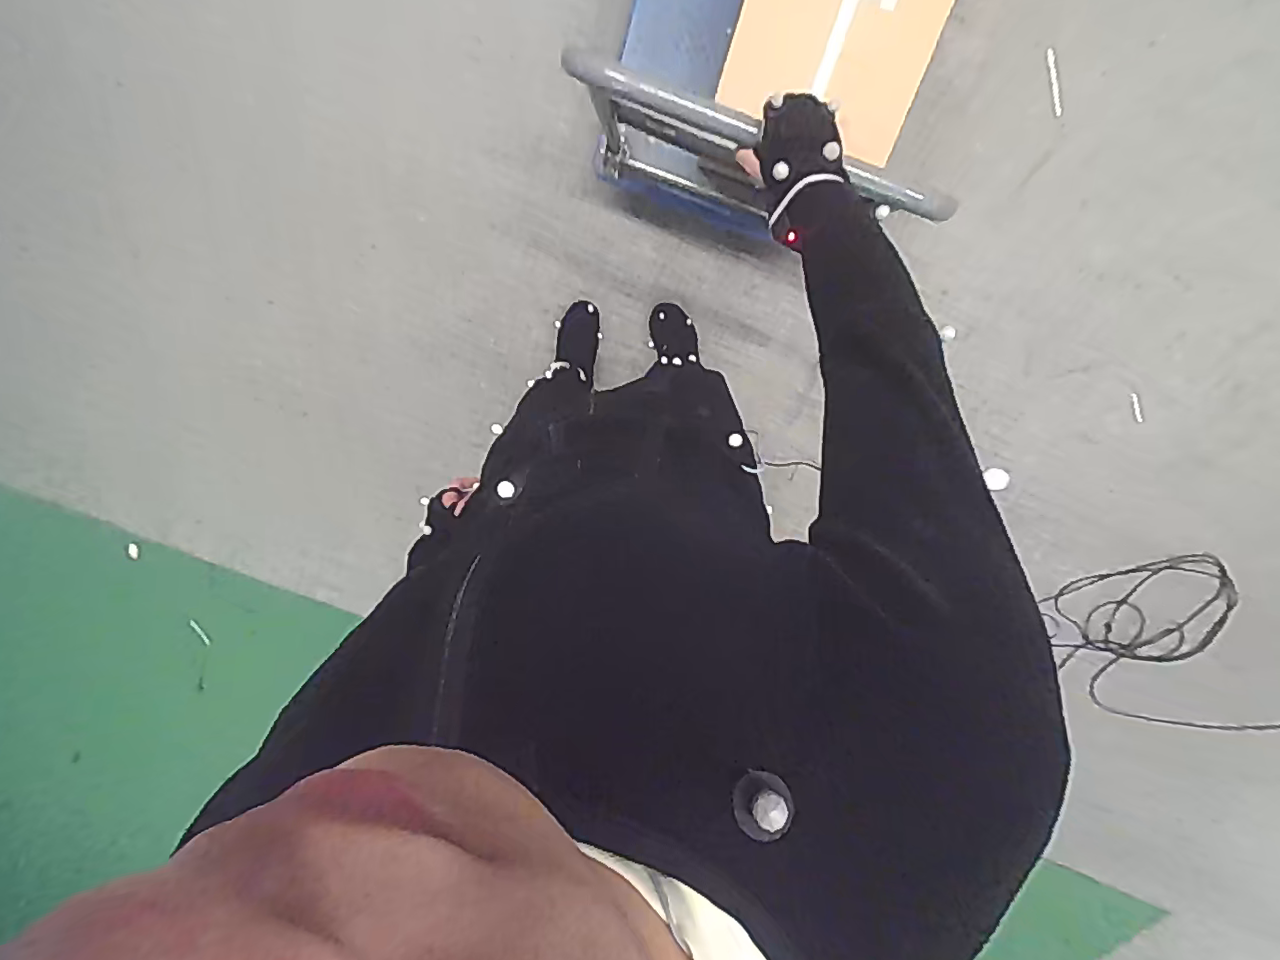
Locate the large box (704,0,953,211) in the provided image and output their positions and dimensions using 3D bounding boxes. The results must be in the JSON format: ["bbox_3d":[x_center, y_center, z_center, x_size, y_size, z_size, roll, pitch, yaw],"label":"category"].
[{"bbox_3d":[0.327,-0.769,1.006,0.320,0.320,0.408,17,111,-4],"label":"large box"}]
